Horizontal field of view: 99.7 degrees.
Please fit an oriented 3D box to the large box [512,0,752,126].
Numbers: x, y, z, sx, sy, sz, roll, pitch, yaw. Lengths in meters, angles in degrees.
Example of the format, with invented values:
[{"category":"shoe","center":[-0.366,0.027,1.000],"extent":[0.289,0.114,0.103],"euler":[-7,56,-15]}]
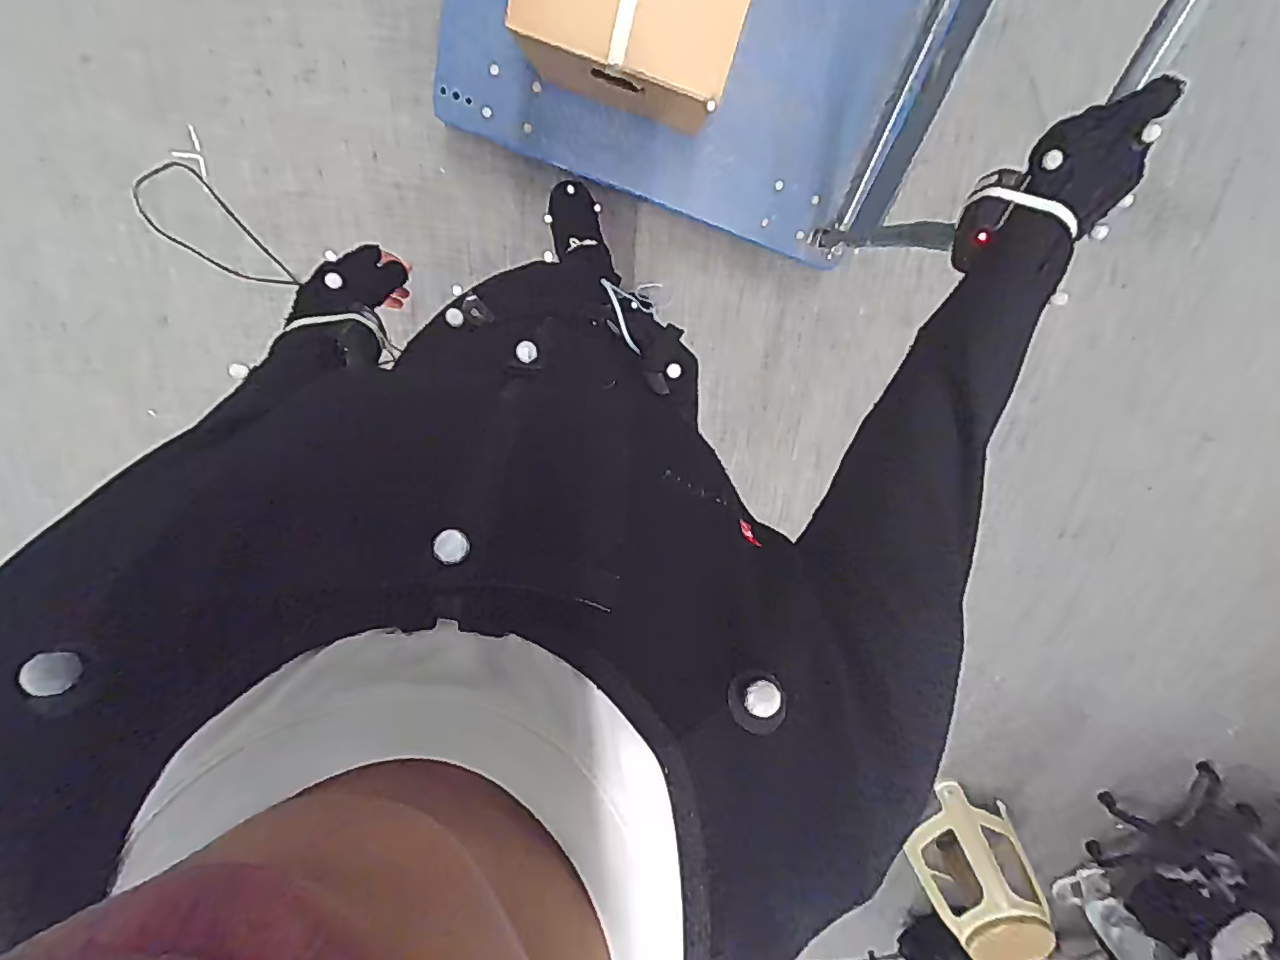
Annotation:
[{"category":"large box","center":[0.024,-0.820,0.804],"extent":[0.320,0.320,0.408],"euler":[16,116,-6]}]
